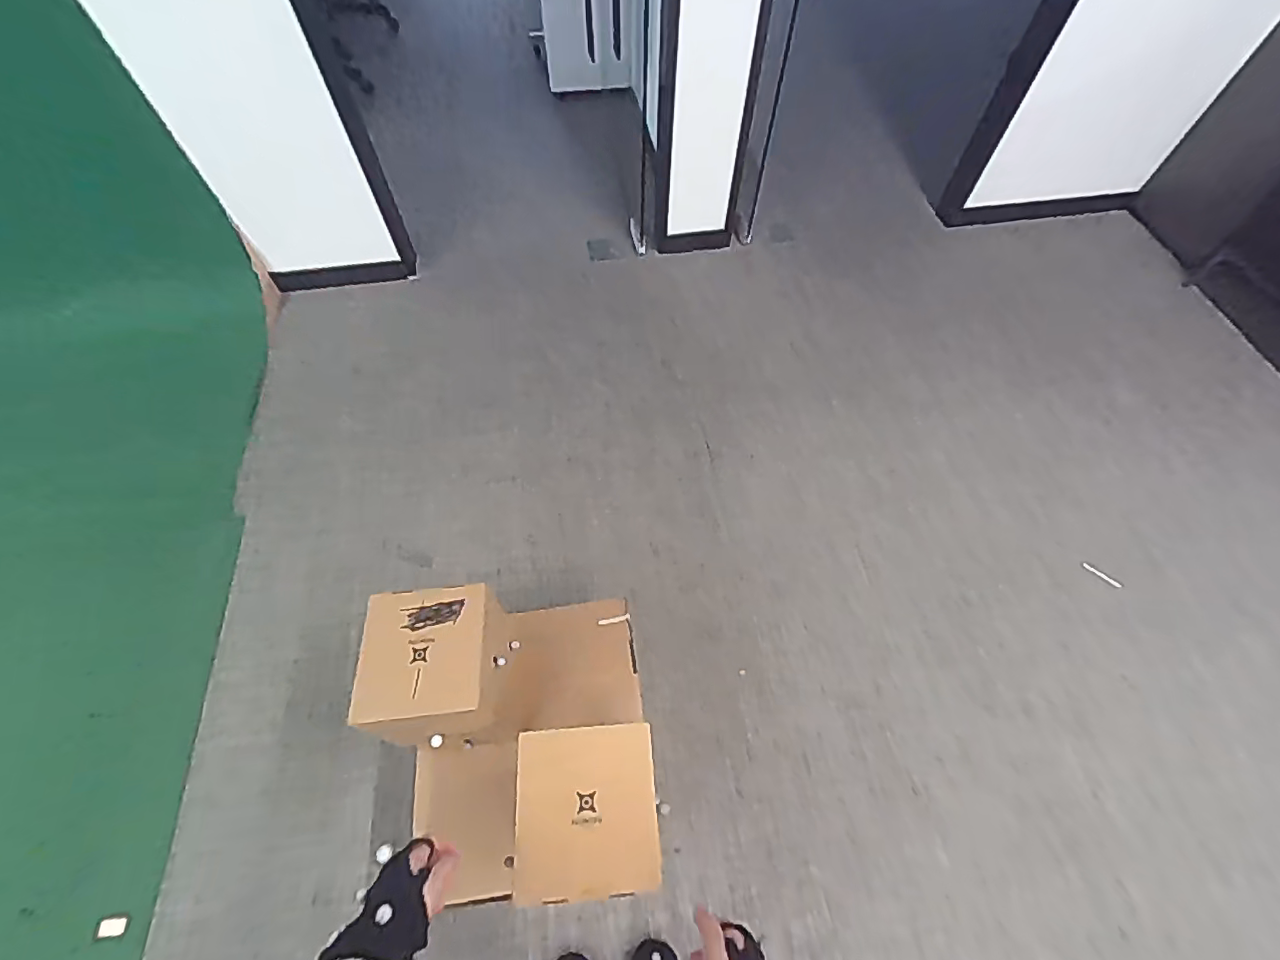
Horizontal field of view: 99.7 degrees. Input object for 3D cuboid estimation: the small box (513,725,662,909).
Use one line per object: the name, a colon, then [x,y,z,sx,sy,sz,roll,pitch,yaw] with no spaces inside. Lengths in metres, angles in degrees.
small box: [-0.066,0.430,0.700,0.168,0.176,0.179,-3,58,-4]

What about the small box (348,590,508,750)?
small box: [-0.294,0.280,0.793,0.168,0.176,0.179,-5,56,-3]

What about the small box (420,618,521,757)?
small box: [-0.304,0.362,0.937,0.168,0.176,0.179,-7,56,-5]
